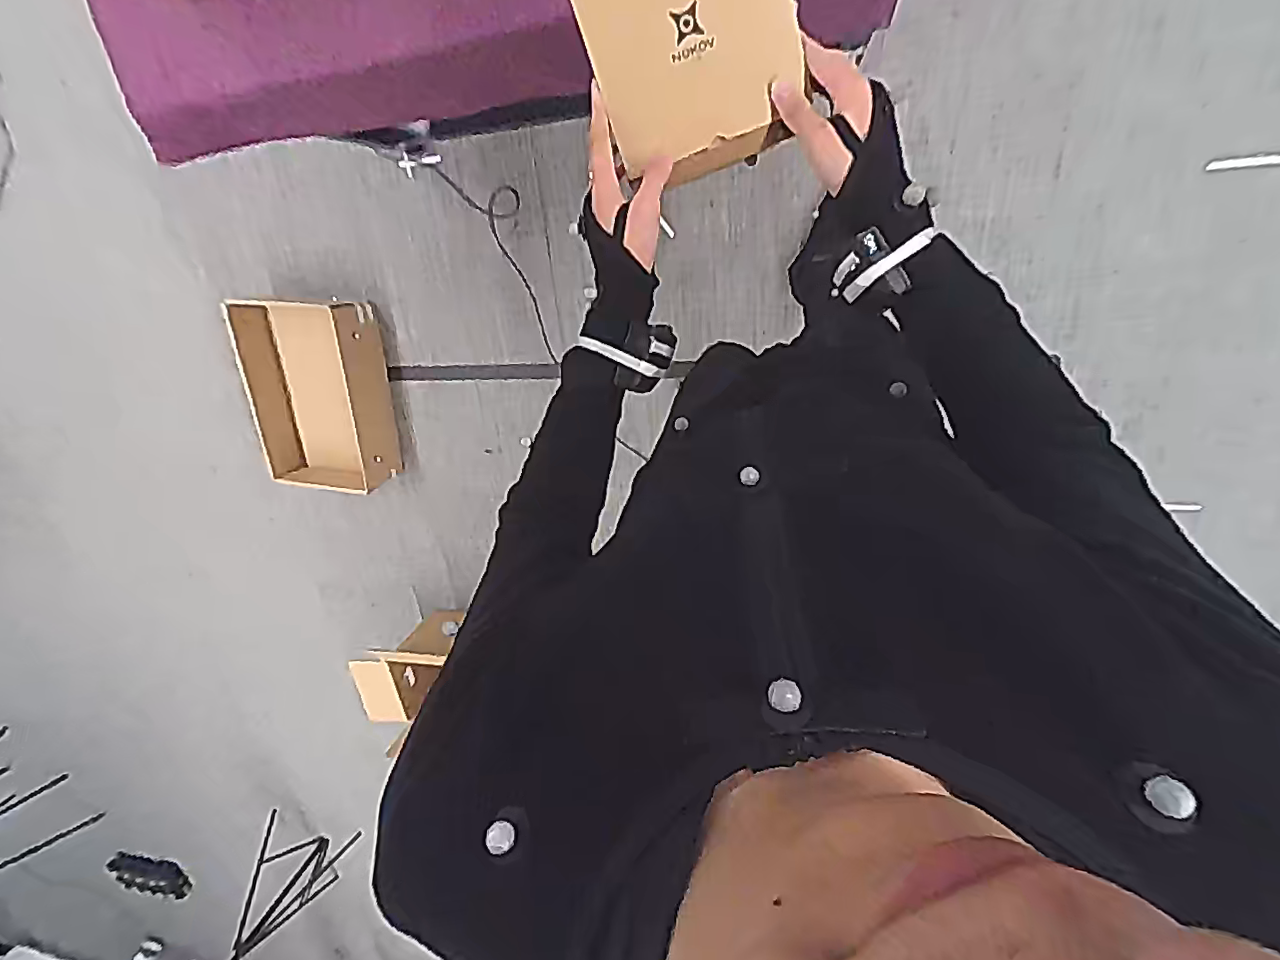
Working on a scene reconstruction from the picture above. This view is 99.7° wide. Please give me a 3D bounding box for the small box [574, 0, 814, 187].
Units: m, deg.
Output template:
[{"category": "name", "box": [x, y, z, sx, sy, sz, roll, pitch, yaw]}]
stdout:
[{"category": "small box", "box": [0.045, -0.391, 0.499, 0.168, 0.176, 0.179, -17, 110, 10]}]
